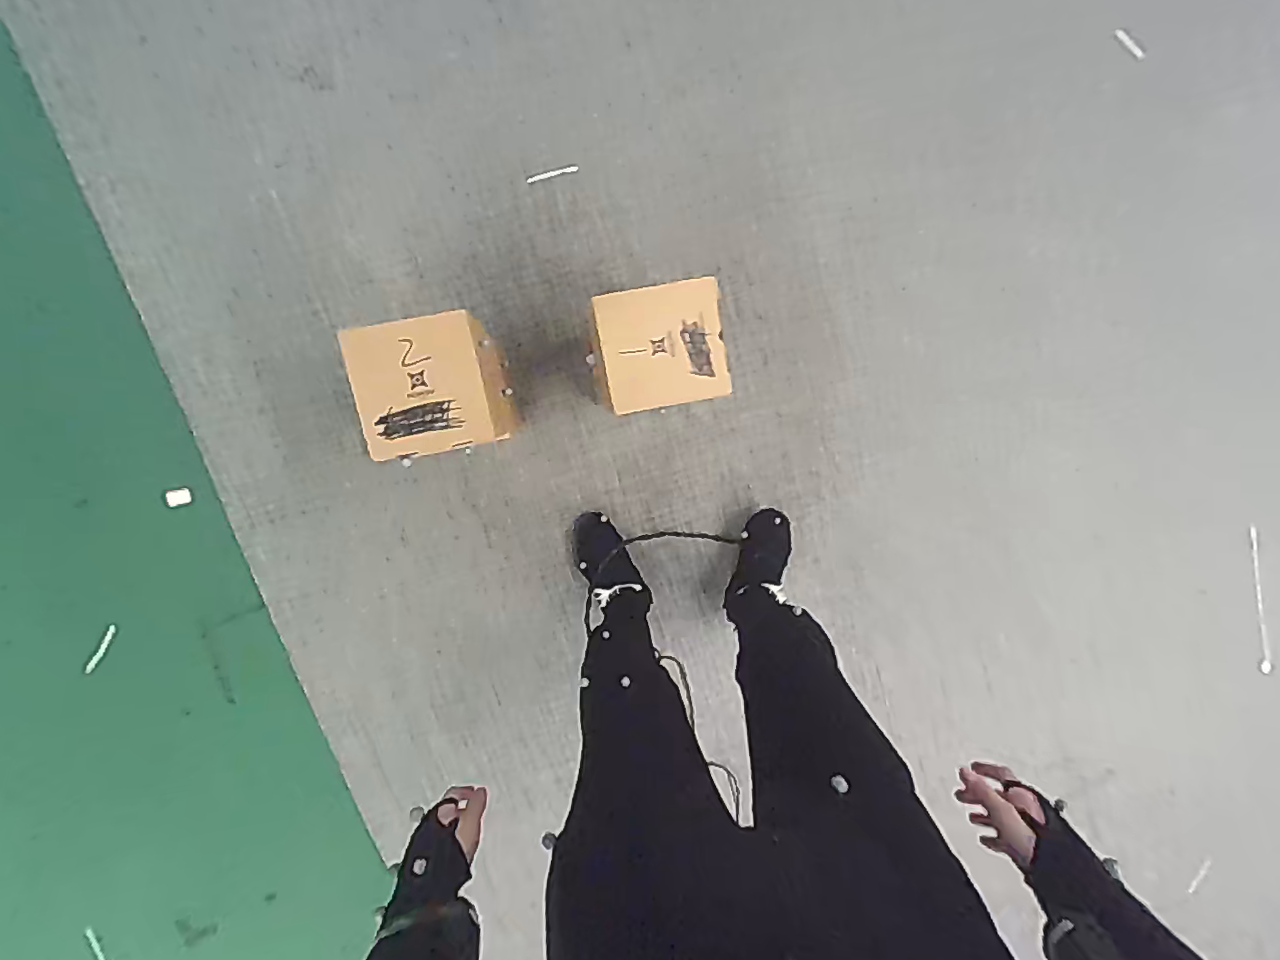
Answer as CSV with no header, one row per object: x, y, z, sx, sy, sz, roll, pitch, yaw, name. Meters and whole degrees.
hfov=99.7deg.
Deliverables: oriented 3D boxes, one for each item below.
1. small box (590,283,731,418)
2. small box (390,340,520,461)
0.024,-0.196,0.840,0.179,0.176,0.168,-12,99,-5,small box
-0.317,-0.142,0.968,0.168,0.176,0.179,-12,98,-6,small box
